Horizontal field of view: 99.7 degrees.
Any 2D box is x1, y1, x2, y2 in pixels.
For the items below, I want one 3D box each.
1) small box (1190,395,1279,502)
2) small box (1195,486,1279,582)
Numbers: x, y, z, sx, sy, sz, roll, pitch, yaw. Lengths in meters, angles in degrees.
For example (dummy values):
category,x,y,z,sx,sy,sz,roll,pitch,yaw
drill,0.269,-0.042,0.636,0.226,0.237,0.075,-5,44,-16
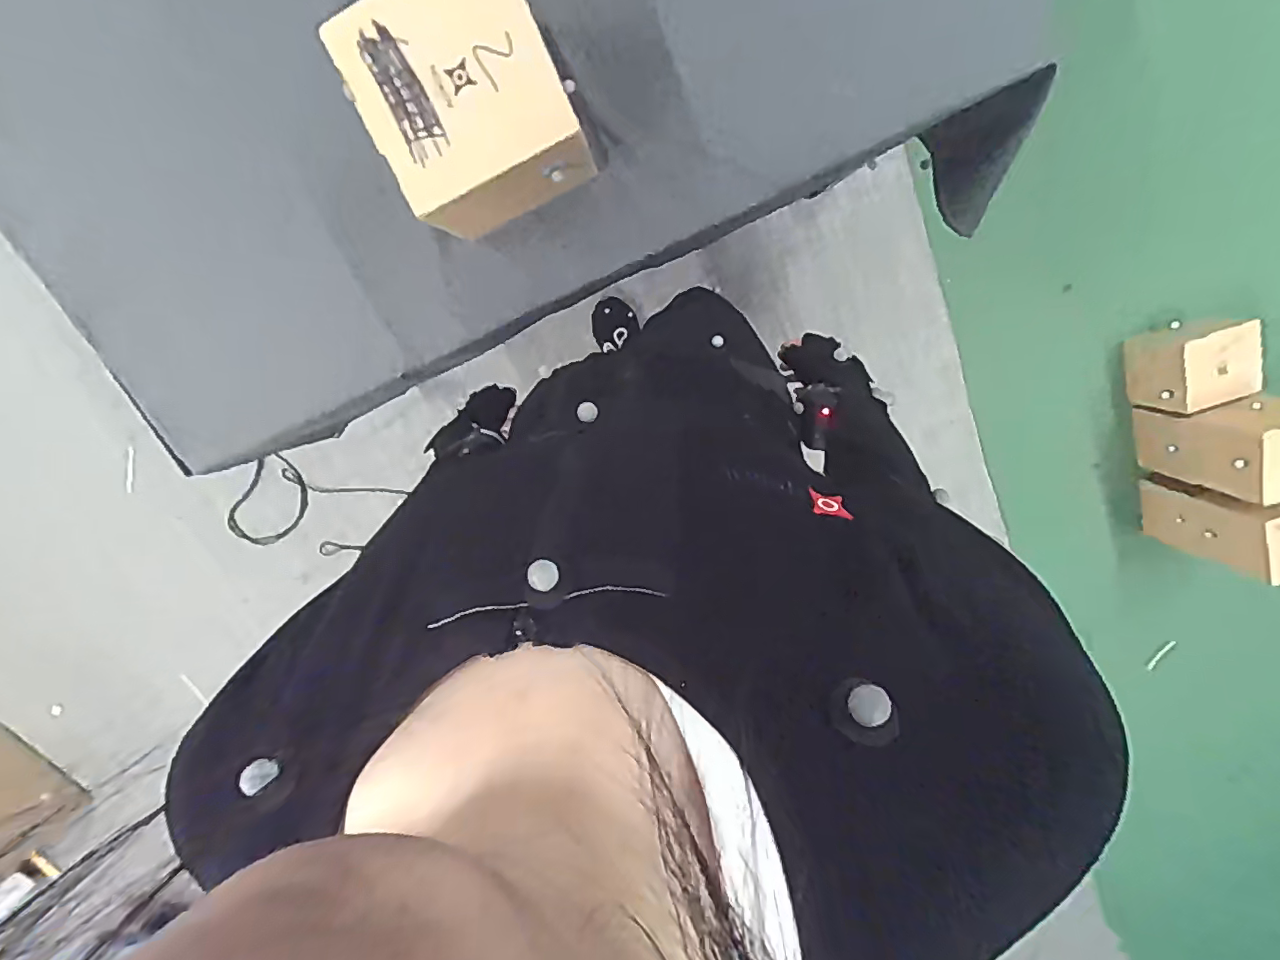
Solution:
category,x,y,z,sx,sy,sz,roll,pitch,yaw
small box,1.399,-0.076,1.215,0.168,0.176,0.179,-18,105,7
small box,1.472,0.104,1.269,0.168,0.176,0.179,-23,107,8
